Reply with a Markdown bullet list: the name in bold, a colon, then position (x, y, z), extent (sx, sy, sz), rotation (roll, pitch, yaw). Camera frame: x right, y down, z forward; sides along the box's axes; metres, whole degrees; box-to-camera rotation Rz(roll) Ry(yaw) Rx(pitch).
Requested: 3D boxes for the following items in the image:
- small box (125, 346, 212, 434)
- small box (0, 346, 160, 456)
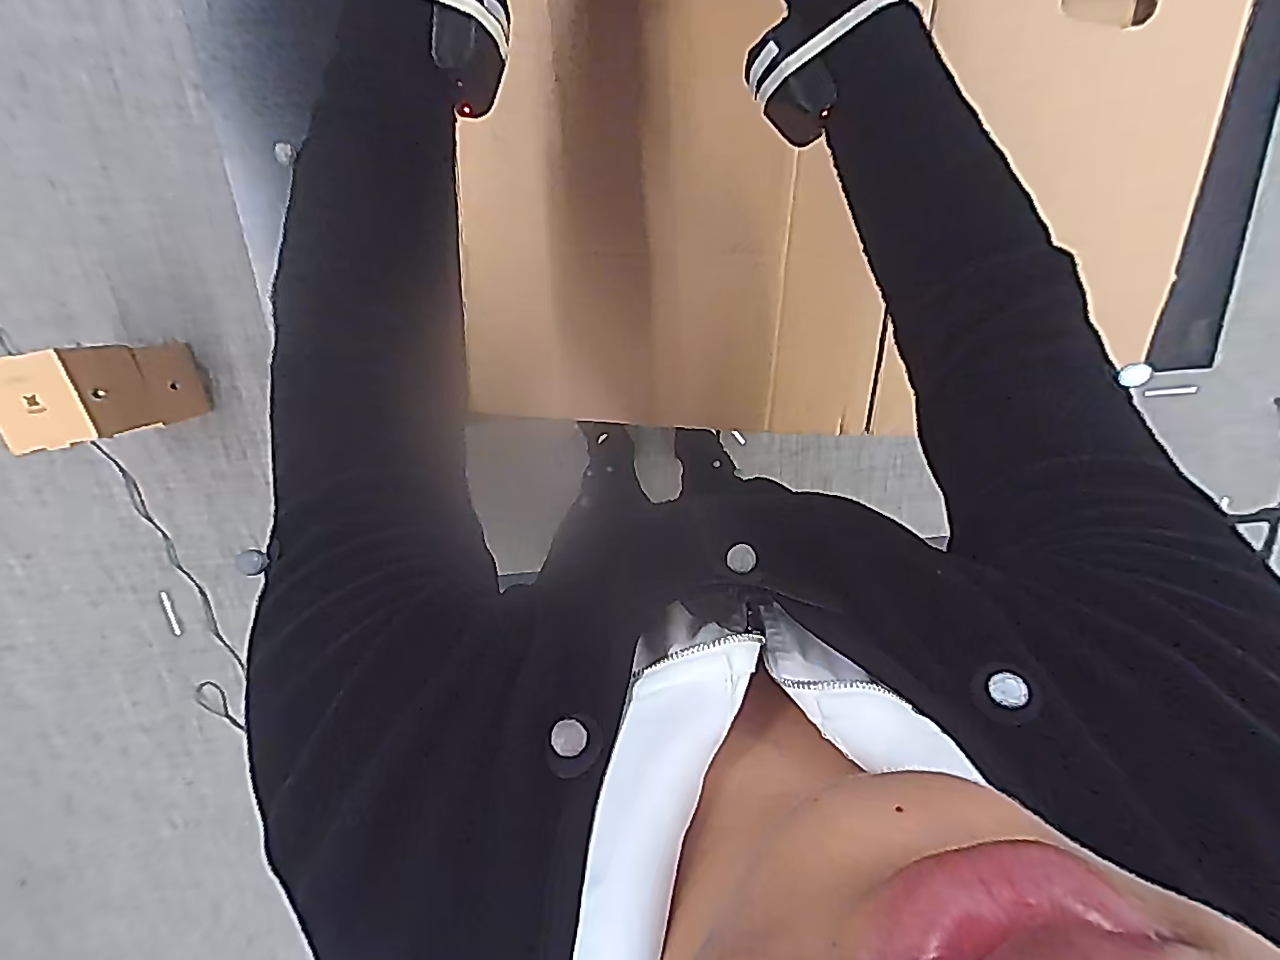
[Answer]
- **small box**: position (-1.142, -0.208, 1.239), extent (0.168, 0.176, 0.179), rotation (-9, 109, -2)
- **small box**: position (-1.131, -0.164, 1.083), extent (0.168, 0.176, 0.179), rotation (-12, 107, -2)
